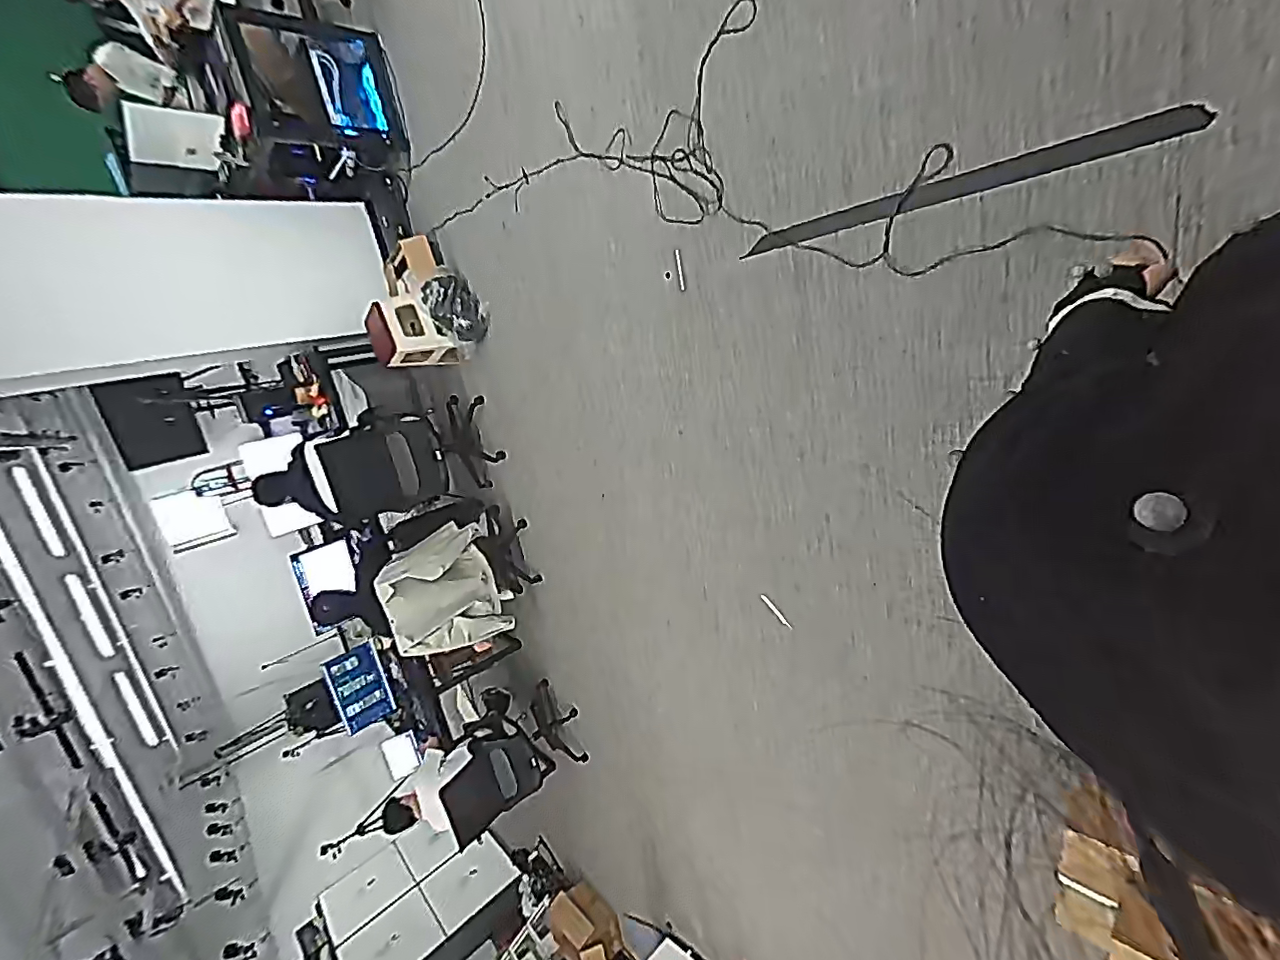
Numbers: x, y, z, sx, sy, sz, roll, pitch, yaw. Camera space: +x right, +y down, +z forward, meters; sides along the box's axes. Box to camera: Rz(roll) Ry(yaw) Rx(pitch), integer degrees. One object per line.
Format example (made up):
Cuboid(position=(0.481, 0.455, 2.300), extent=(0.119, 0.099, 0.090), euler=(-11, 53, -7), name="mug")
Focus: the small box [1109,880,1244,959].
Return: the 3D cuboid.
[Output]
Cuboid(position=(1.056, 0.952, 1.066), extent=(0.179, 0.176, 0.168), euler=(5, 109, 50), name="small box")
